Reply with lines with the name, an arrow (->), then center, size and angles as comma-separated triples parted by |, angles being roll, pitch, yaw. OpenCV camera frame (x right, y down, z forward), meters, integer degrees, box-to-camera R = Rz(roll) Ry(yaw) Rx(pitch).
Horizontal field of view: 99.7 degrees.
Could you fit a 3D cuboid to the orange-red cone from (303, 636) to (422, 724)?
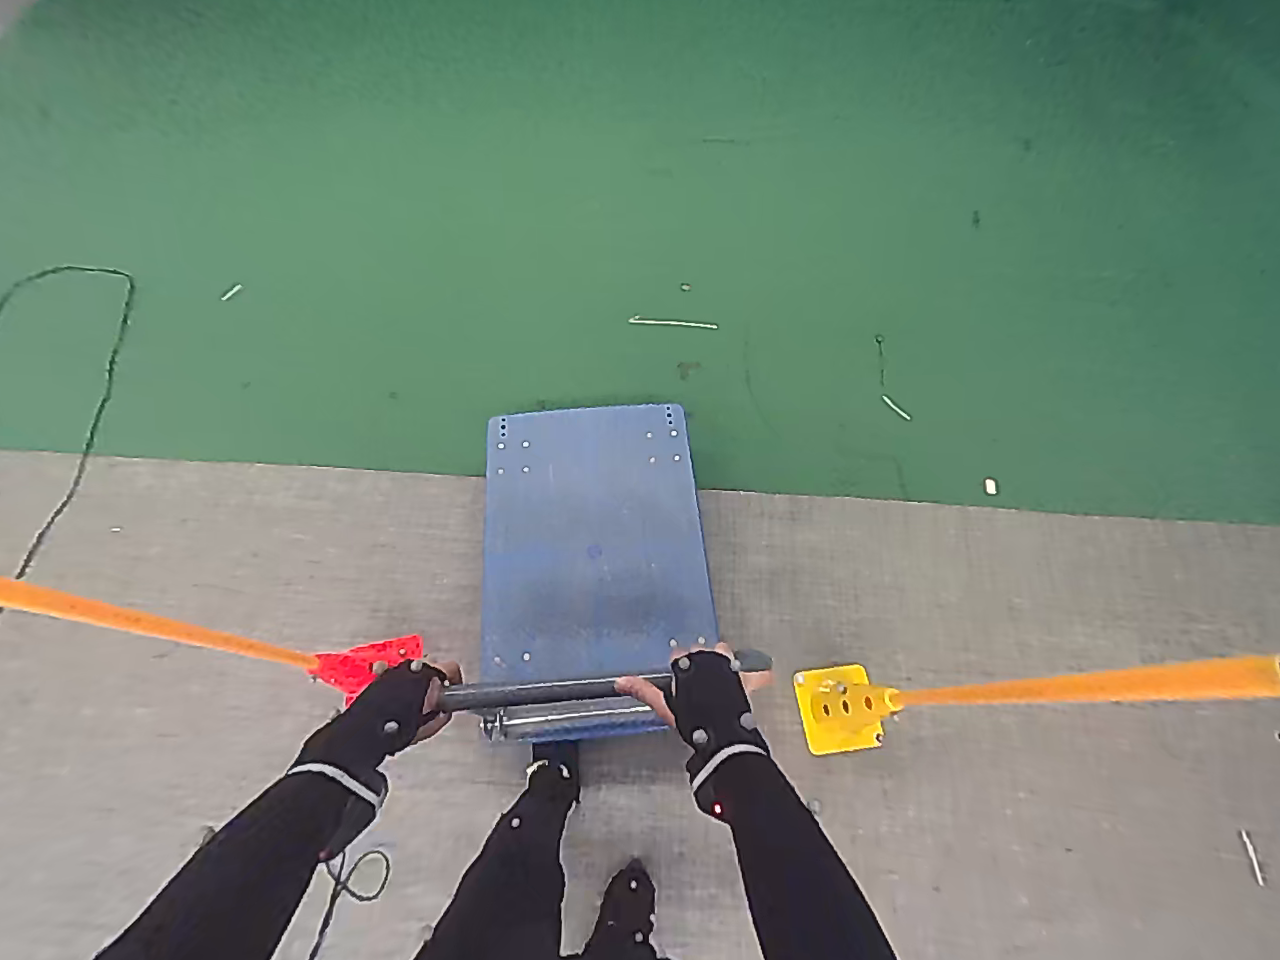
orange-red cone -> -0.669, 0.445, 1.254 | 0.199, 0.360, 0.198 | -10, 65, -4
